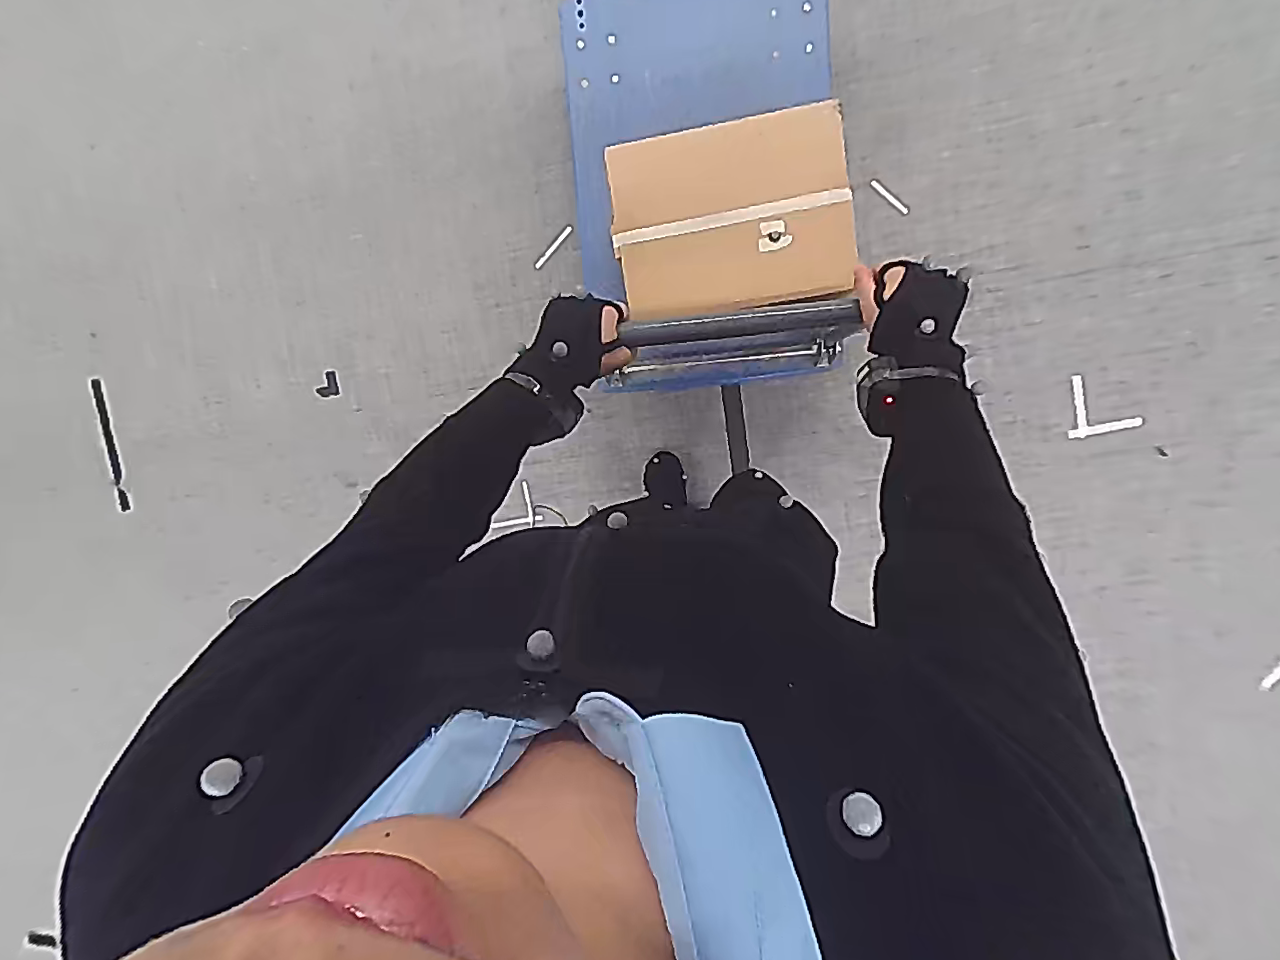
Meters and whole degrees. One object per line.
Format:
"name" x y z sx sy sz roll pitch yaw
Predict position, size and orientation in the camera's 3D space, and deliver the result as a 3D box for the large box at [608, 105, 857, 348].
"large box" 0.170 -0.473 1.095 0.408 0.320 0.320 -9 97 5
